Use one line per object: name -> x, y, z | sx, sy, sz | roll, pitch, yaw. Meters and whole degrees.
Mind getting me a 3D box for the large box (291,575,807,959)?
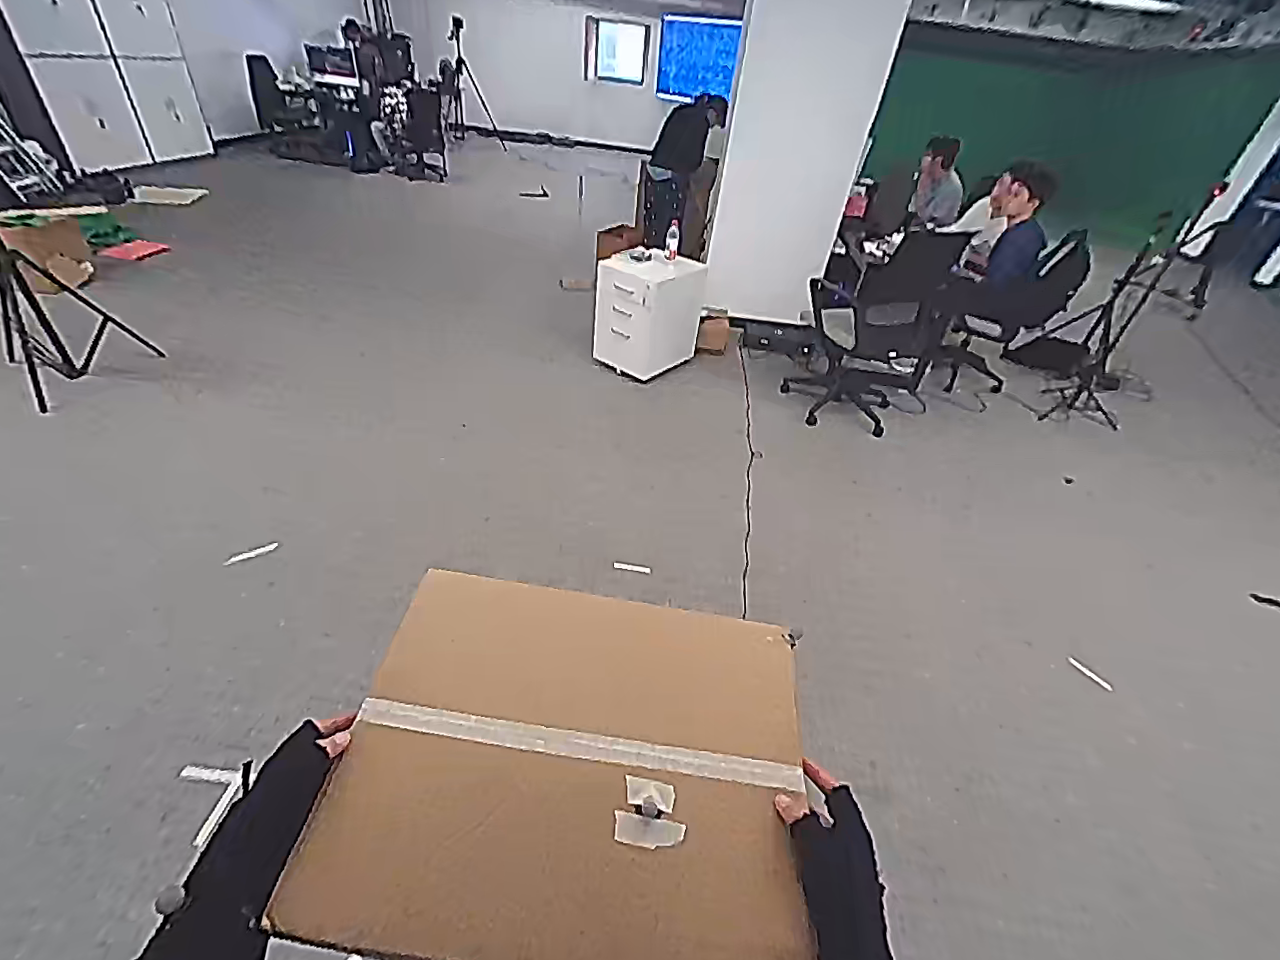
large box -> -0.071, 0.347, 0.615 | 0.408, 0.320, 0.320 | 10, 46, 0
